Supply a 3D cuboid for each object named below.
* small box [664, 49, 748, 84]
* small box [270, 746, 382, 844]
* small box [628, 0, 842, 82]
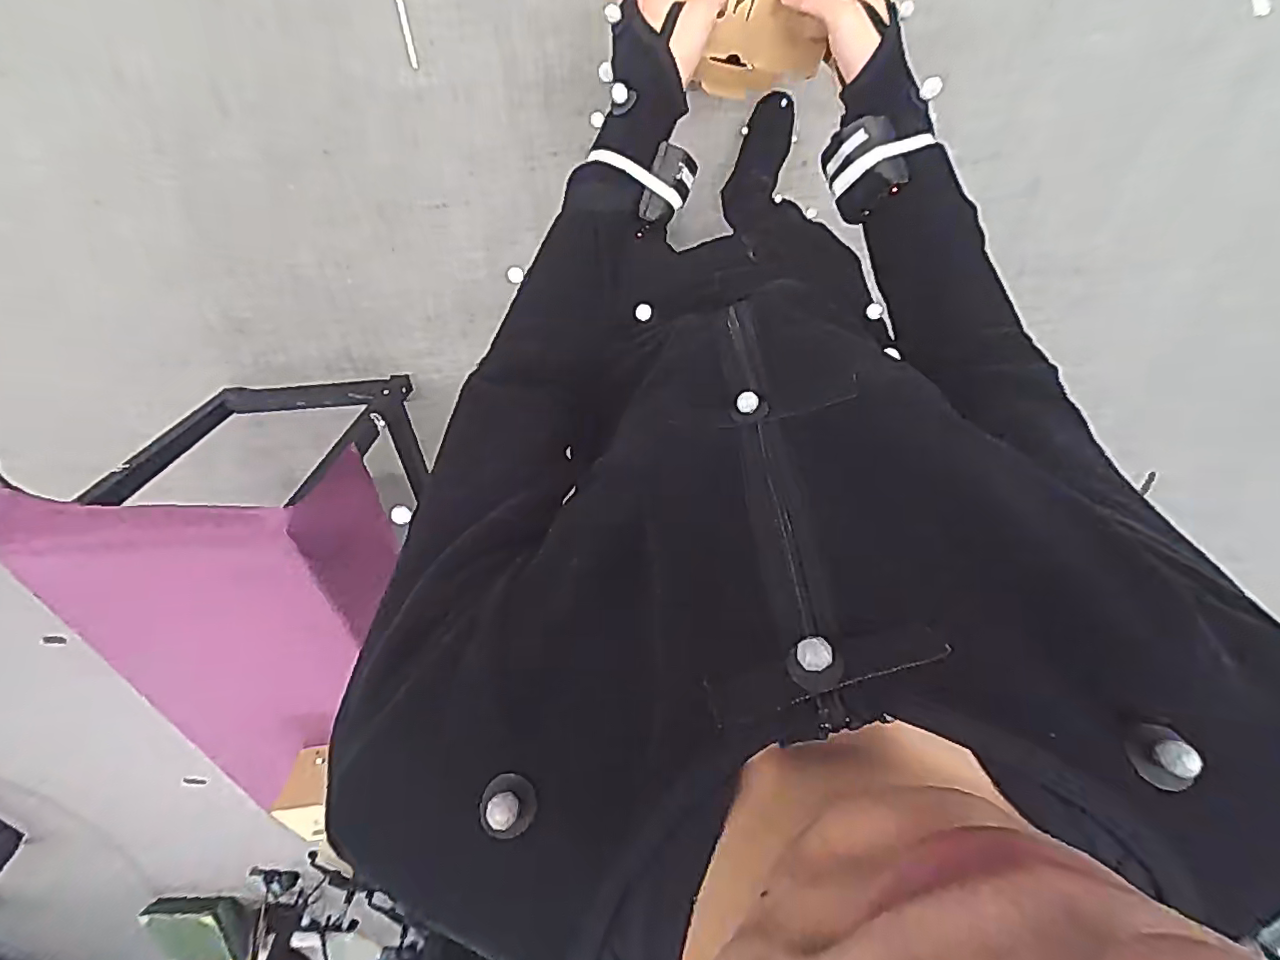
[{"bbox_3d":[0.138,-0.924,1.109,0.168,0.176,0.179,0,125,-1],"label":"small box"},{"bbox_3d":[-0.838,0.853,1.467,0.168,0.176,0.179,-12,124,7],"label":"small box"},{"bbox_3d":[0.082,-0.482,0.454,0.168,0.176,0.179,-1,145,-16],"label":"small box"}]
